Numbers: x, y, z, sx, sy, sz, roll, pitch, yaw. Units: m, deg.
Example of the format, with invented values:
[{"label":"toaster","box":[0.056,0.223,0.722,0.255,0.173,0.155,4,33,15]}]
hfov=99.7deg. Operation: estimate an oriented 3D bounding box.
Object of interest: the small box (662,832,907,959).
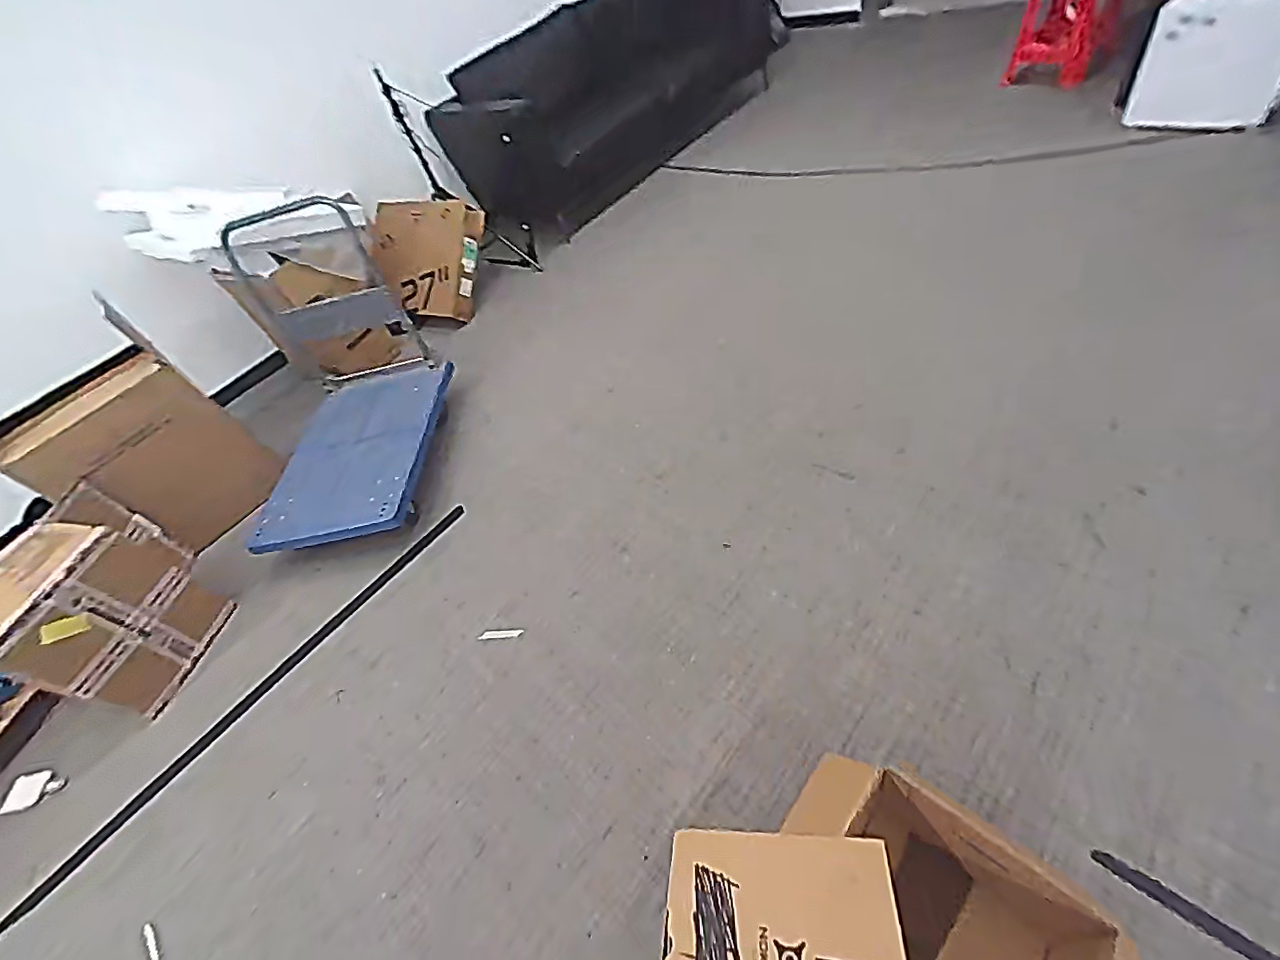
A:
[{"label":"small box","box":[0.121,0.409,0.427,0.179,0.176,0.168,-9,32,16]}]
